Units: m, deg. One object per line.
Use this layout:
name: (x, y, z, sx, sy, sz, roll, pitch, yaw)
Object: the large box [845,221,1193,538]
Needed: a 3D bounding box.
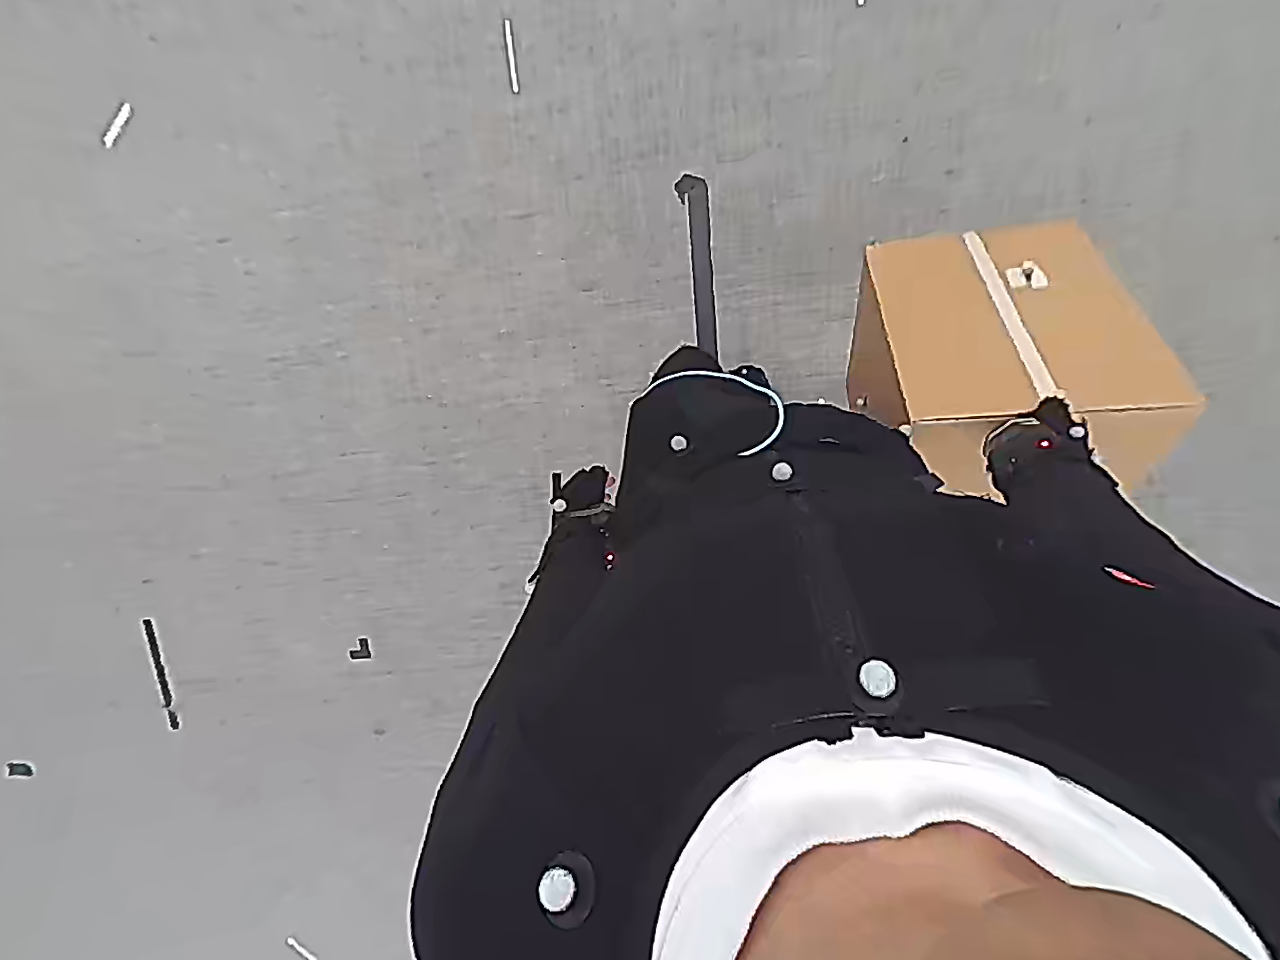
large box: (0.537, -0.155, 0.886, 0.320, 0.408, 0.320, -2, 143, 11)
